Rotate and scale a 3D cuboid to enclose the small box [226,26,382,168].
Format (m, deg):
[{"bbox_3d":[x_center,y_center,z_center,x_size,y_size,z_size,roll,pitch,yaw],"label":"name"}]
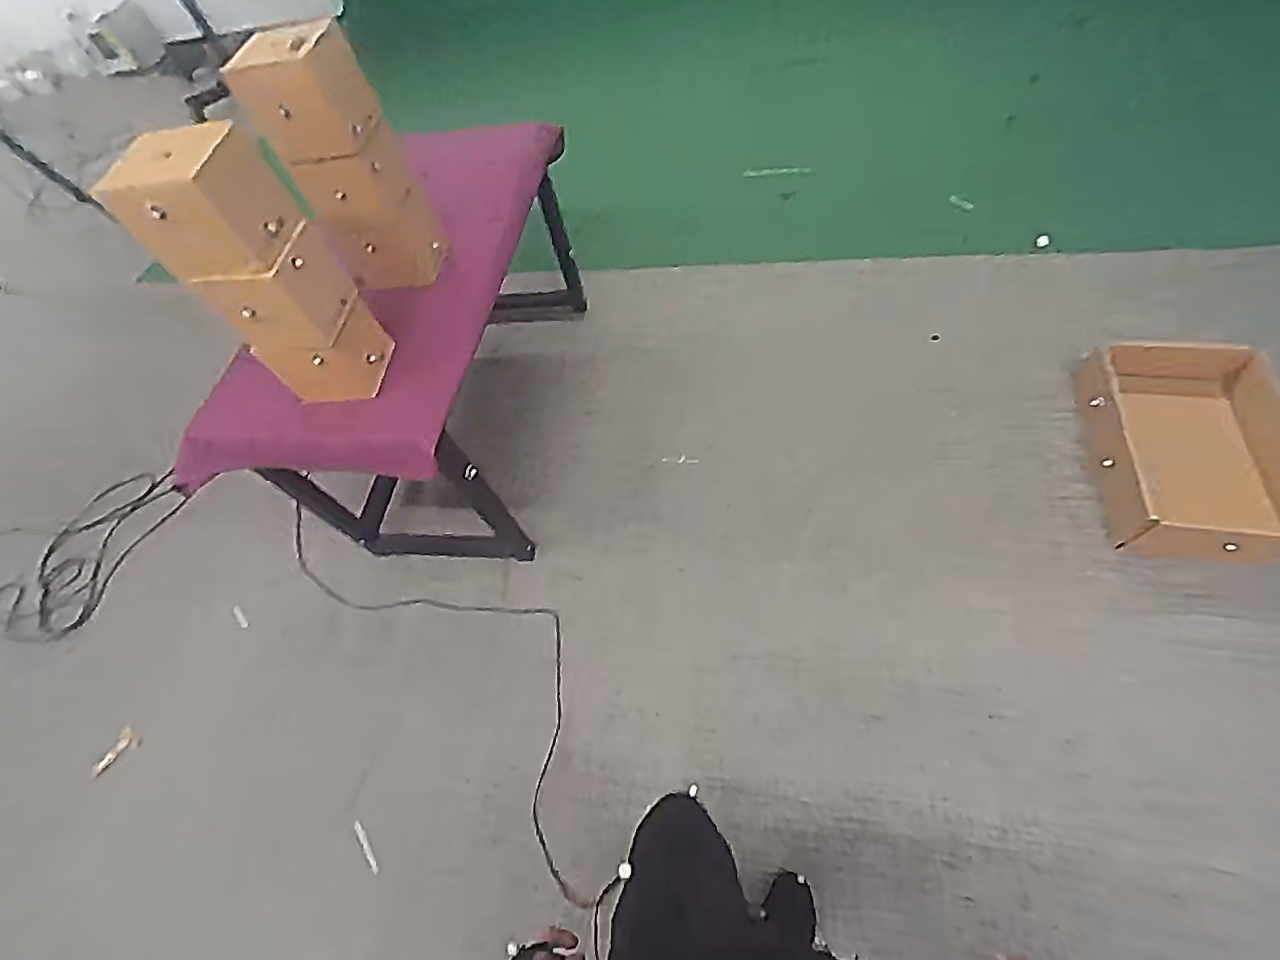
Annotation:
[{"bbox_3d":[-0.653,-0.756,1.077,0.179,0.176,0.168,-1,59,11],"label":"small box"}]

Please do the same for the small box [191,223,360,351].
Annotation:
[{"bbox_3d":[-0.689,-0.366,1.045,0.179,0.176,0.168,-1,59,10],"label":"small box"}]

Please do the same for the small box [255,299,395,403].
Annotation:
[{"bbox_3d":[-0.678,-0.283,1.186,0.179,0.176,0.168,-2,59,8],"label":"small box"}]

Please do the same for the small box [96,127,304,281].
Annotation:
[{"bbox_3d":[-0.723,-0.457,0.912,0.179,0.176,0.168,-2,59,8],"label":"small box"}]
